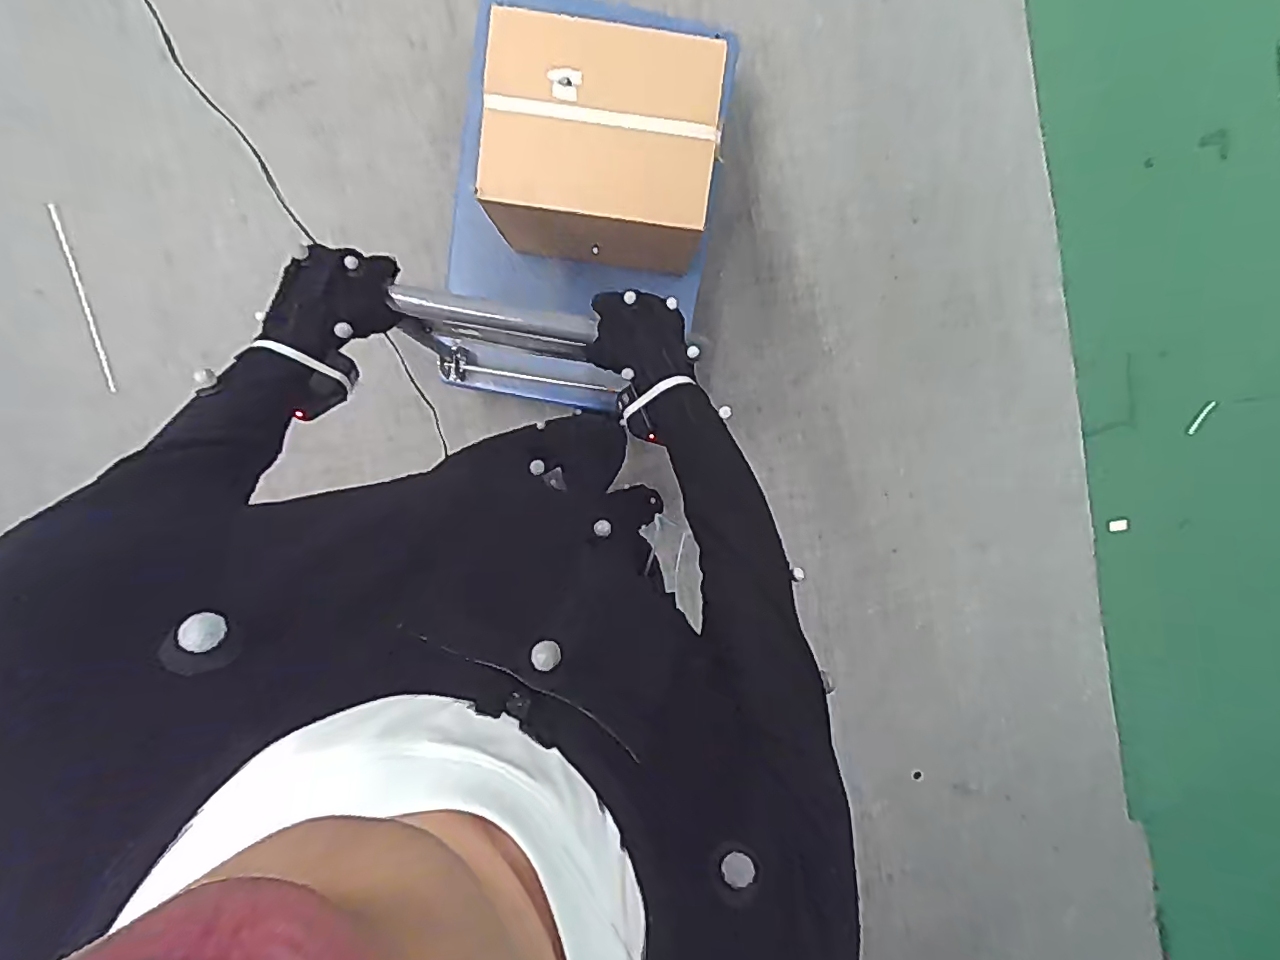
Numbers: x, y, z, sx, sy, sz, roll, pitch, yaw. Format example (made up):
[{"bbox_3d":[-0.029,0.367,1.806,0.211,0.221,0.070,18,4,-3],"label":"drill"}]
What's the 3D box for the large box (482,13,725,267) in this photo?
[{"bbox_3d":[-0.064,-0.640,1.085,0.408,0.320,0.320,7,96,-1],"label":"large box"}]
